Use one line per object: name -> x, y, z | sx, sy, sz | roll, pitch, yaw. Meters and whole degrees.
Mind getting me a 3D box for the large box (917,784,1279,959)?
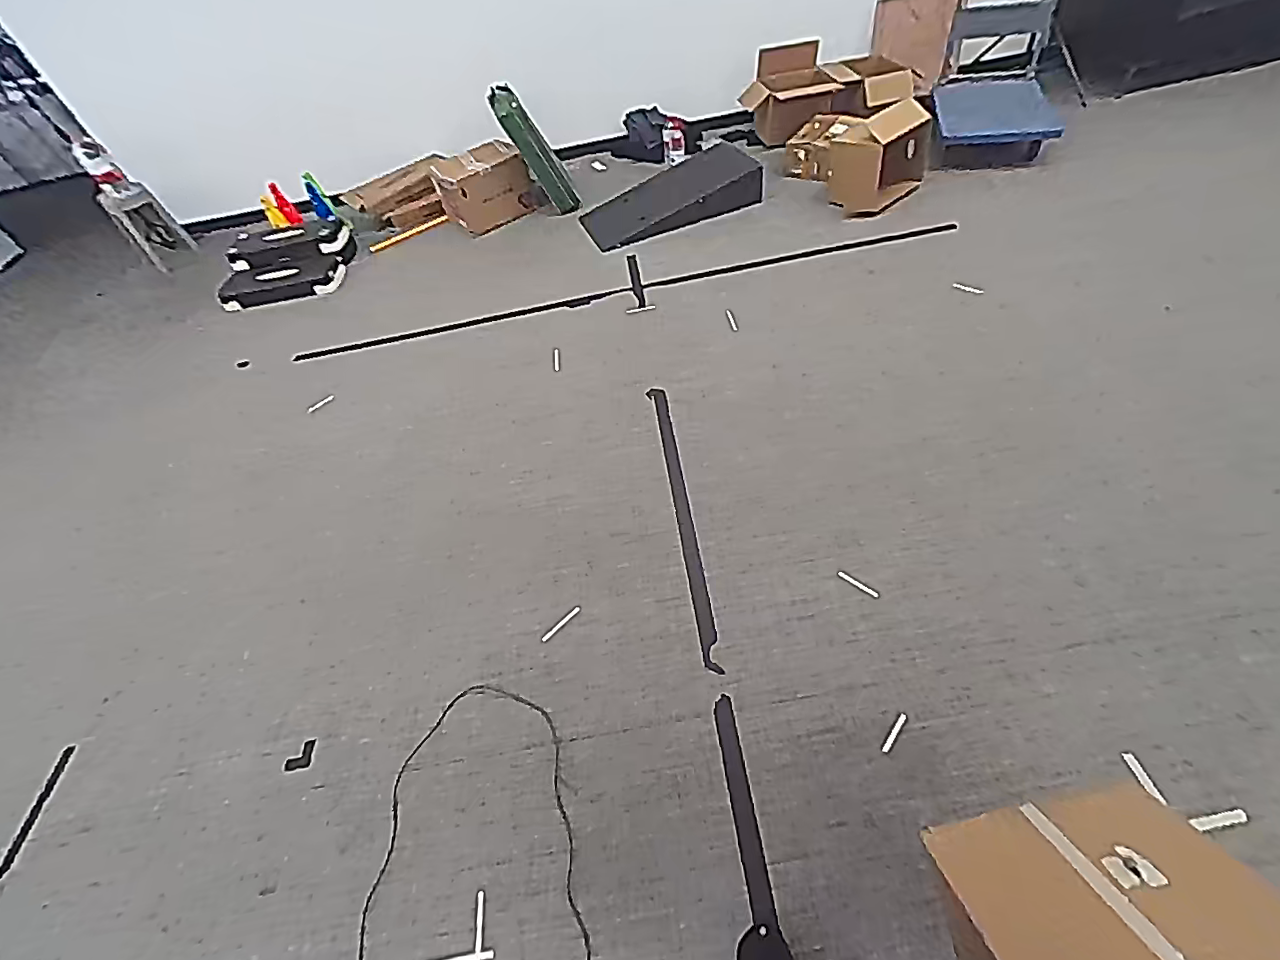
large box -> 0.595, 0.642, 0.609 | 0.320, 0.408, 0.320 | -16, 92, 4
